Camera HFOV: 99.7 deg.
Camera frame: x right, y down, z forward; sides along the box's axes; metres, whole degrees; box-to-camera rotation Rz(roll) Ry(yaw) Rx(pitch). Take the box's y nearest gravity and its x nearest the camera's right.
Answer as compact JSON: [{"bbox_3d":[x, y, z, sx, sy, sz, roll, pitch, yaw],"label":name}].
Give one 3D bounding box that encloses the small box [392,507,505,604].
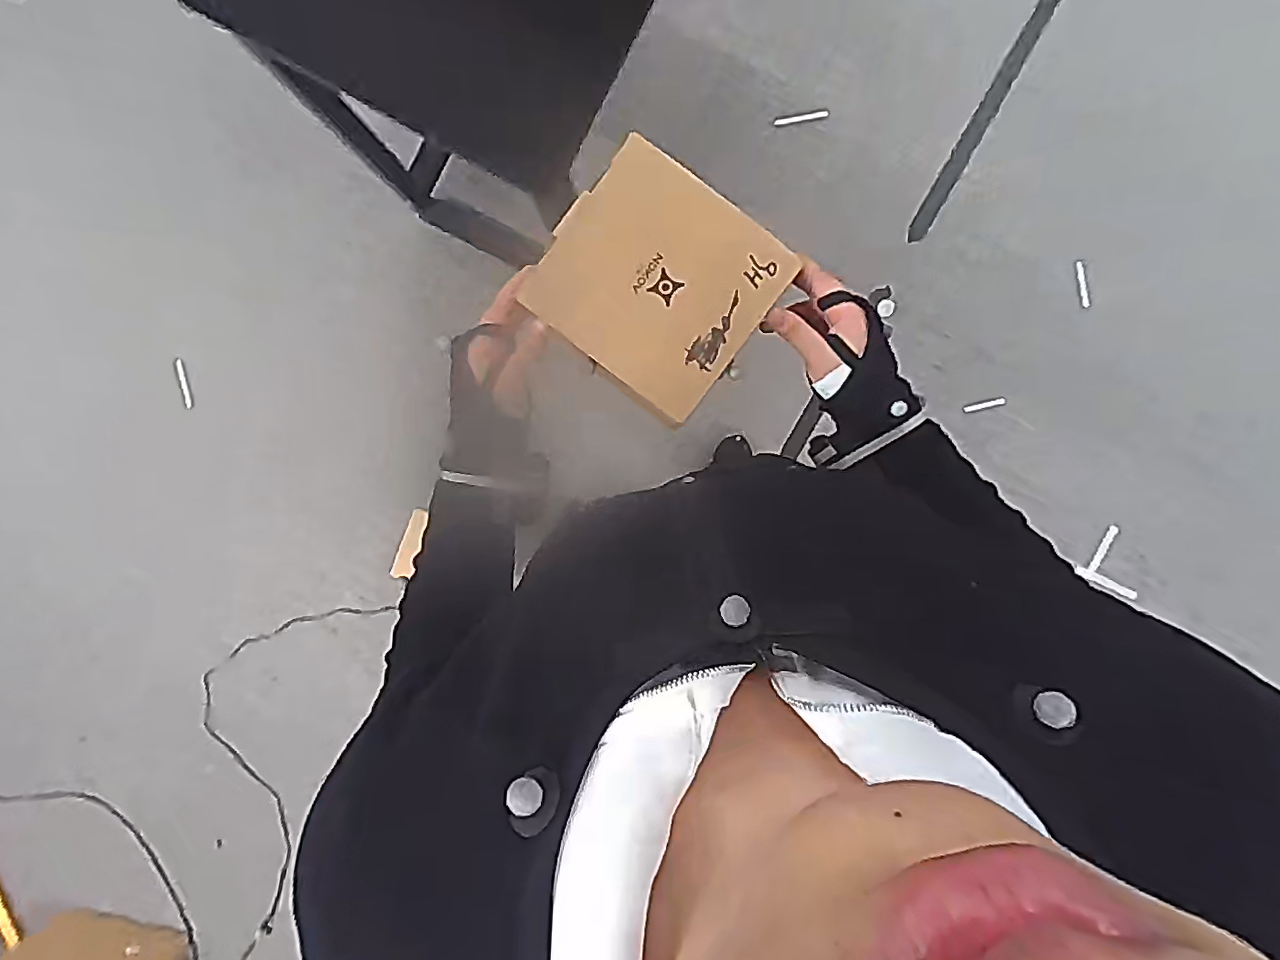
[{"bbox_3d":[-0.444,0.170,1.285,0.179,0.176,0.168,21,93,3],"label":"small box"}]
